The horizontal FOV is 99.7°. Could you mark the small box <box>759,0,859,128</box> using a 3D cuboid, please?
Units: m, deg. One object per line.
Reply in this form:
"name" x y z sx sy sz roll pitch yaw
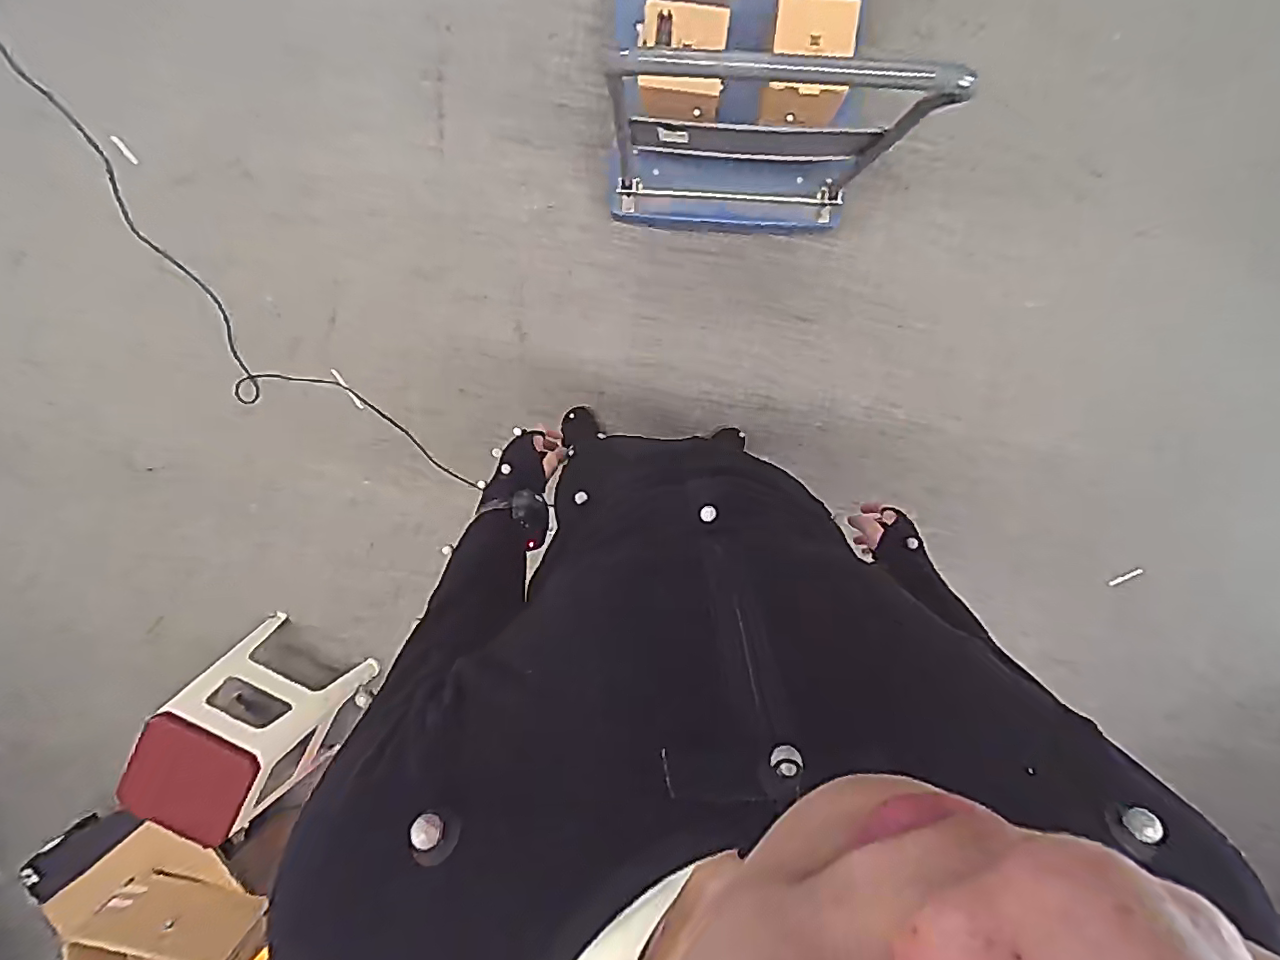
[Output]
"small box" 0.368 -0.927 1.209 0.168 0.176 0.179 4 101 1
